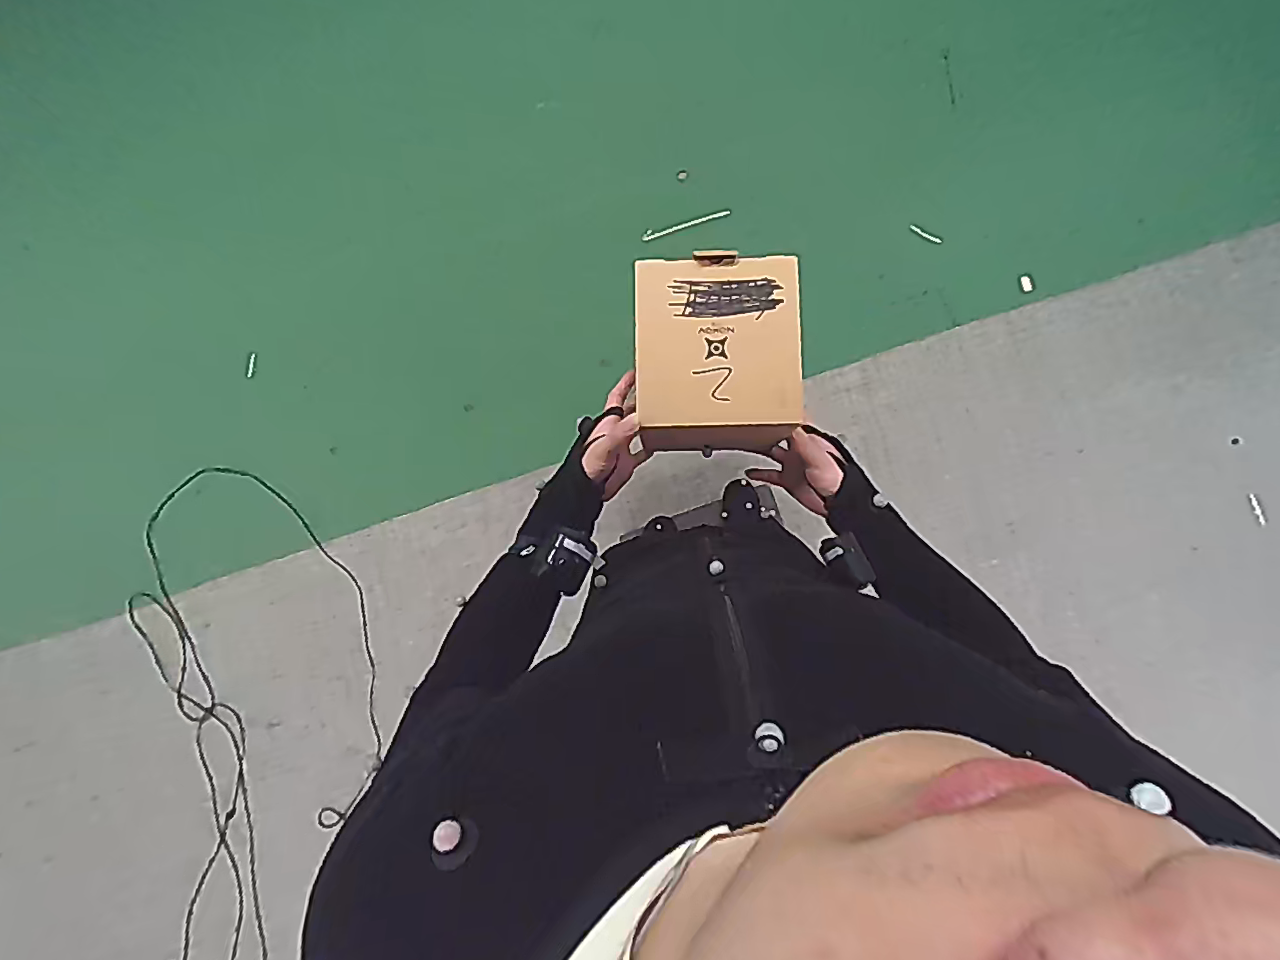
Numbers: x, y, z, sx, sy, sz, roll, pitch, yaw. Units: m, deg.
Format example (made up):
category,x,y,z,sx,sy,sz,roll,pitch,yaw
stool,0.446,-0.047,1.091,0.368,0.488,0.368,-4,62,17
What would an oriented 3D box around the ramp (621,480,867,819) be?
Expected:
category,x,y,z,sx,sy,sz,roll,pitch,yaw
ramp,0.336,0.540,1.675,0.509,0.206,0.991,-21,86,0
